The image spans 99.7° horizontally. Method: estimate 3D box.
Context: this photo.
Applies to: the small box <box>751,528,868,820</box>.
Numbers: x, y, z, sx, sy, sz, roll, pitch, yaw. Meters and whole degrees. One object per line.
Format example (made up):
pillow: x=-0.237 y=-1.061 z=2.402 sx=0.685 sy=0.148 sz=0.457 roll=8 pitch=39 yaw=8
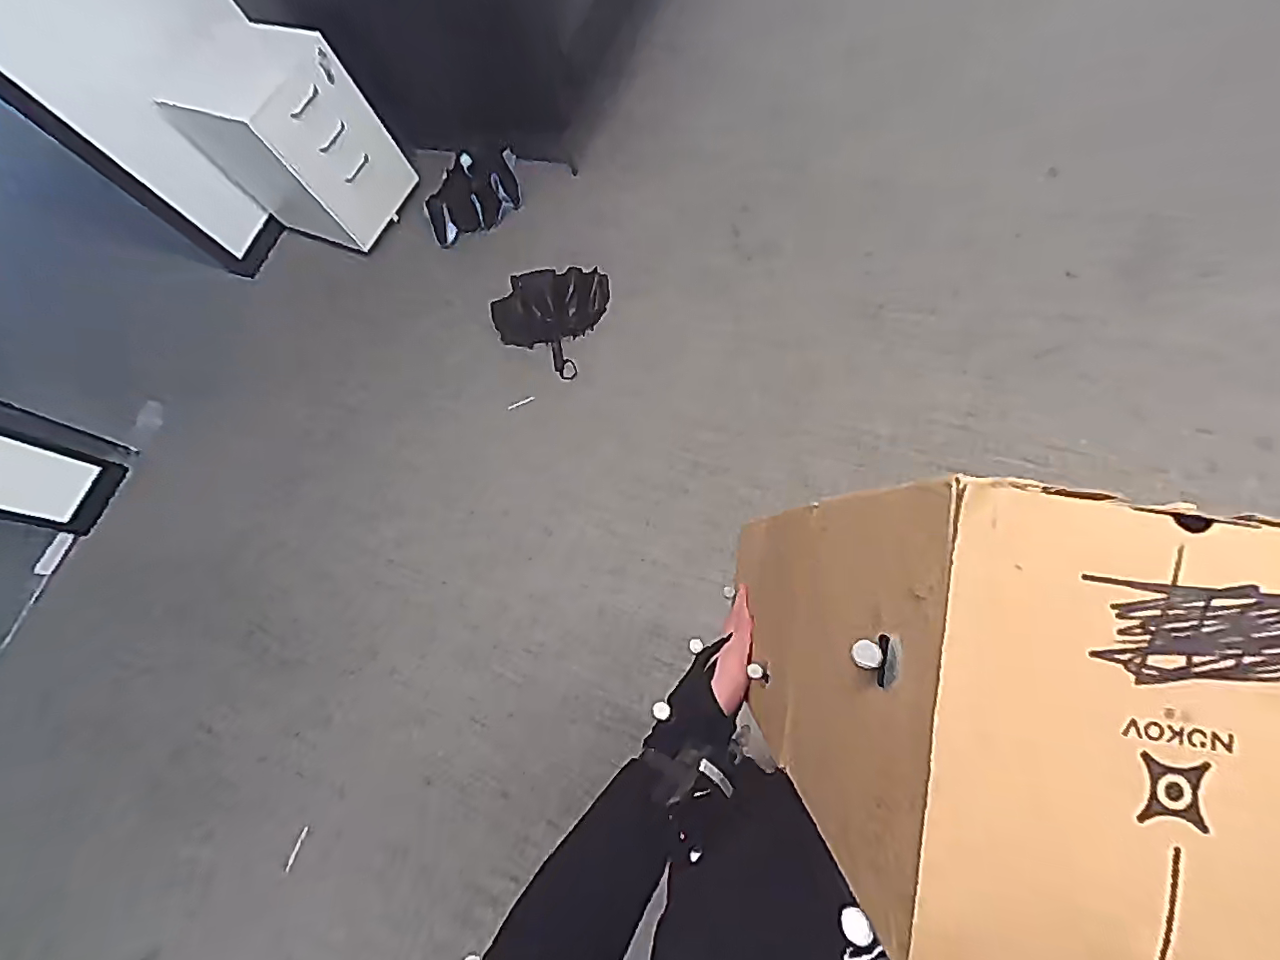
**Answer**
small box: x=0.184 y=0.133 z=0.404 sx=0.168 sy=0.176 sz=0.179 roll=7 pitch=84 yaw=2
